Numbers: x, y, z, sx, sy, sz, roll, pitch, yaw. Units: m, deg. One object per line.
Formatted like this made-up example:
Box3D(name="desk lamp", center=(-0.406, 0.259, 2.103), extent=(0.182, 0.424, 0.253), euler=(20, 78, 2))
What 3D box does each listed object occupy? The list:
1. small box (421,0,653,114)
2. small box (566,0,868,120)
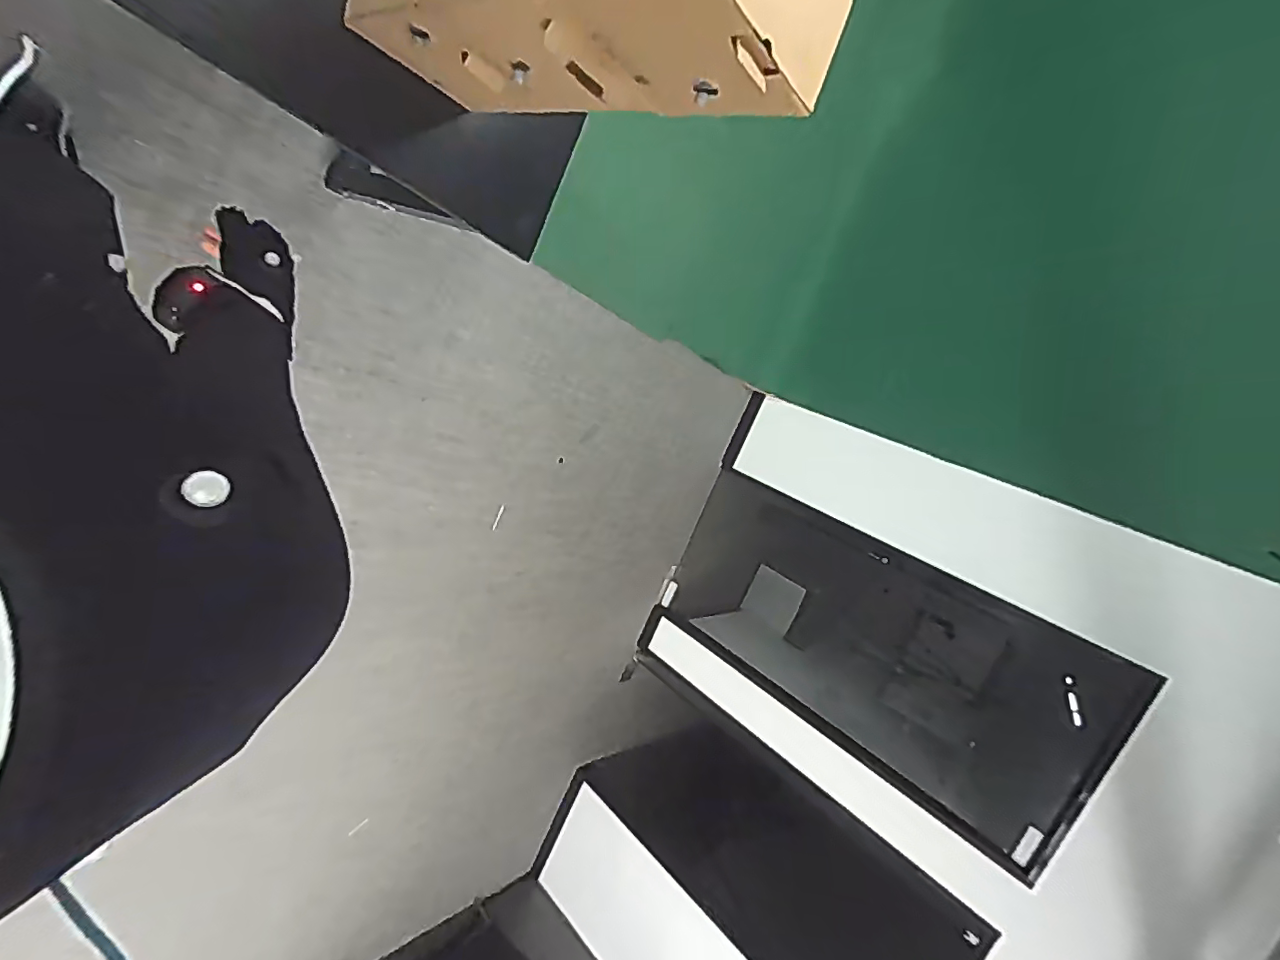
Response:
Box3D(name="small box", center=(-0.072, -0.466, 0.487), extent=(0.168, 0.176, 0.179), euler=(1, 112, -51))
Box3D(name="small box", center=(0.061, -0.394, 0.390), extent=(0.168, 0.176, 0.179), euler=(1, 112, -52))
